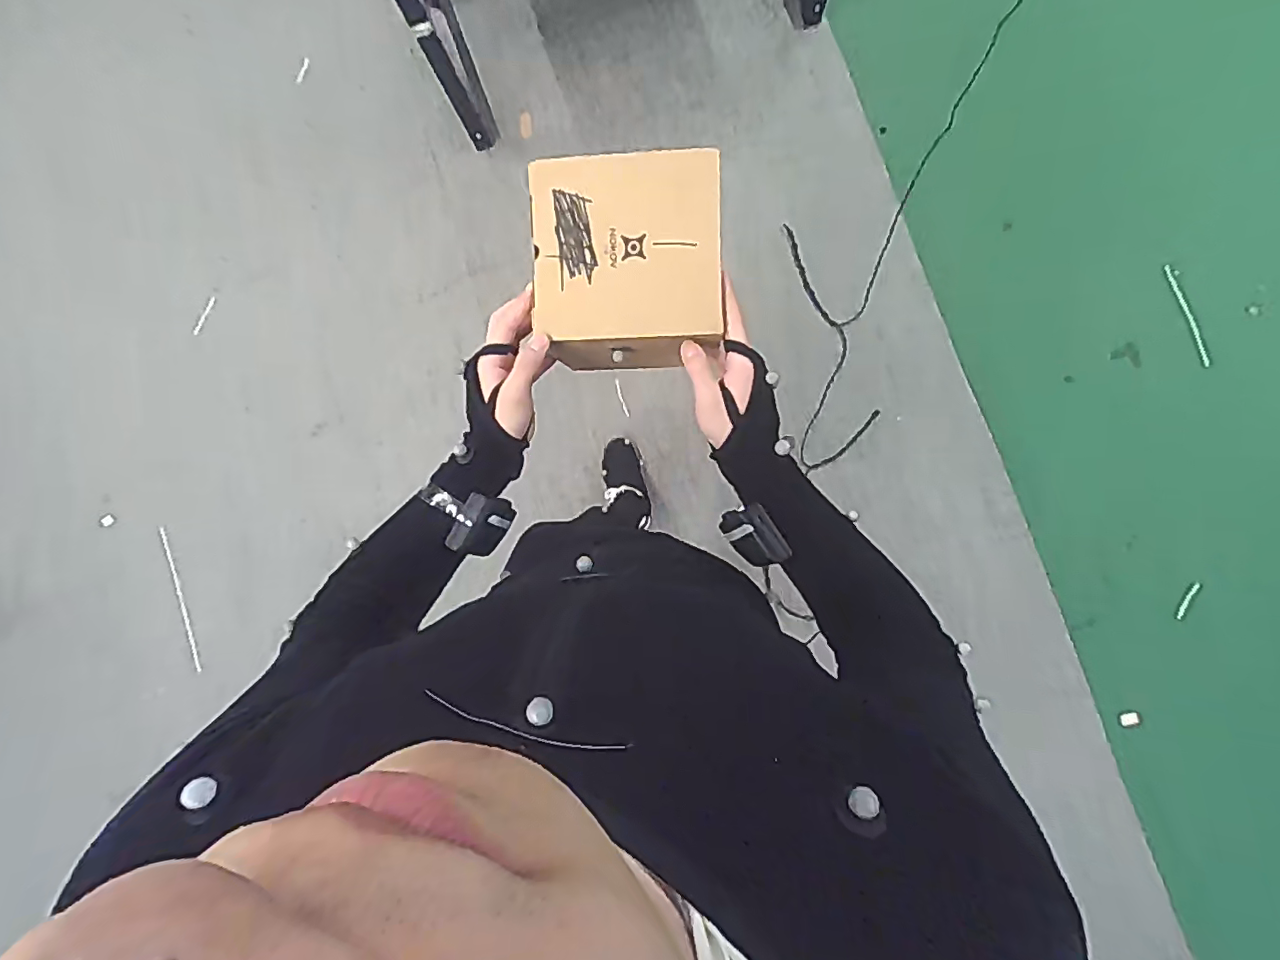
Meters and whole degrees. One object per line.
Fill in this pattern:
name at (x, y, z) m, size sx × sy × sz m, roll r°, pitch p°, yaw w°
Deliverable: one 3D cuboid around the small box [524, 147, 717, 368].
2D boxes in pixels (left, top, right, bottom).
small box at (-0.011, -0.213, 0.565) m, size 0.179 × 0.176 × 0.168 m, roll -1°, pitch 92°, yaw 5°
